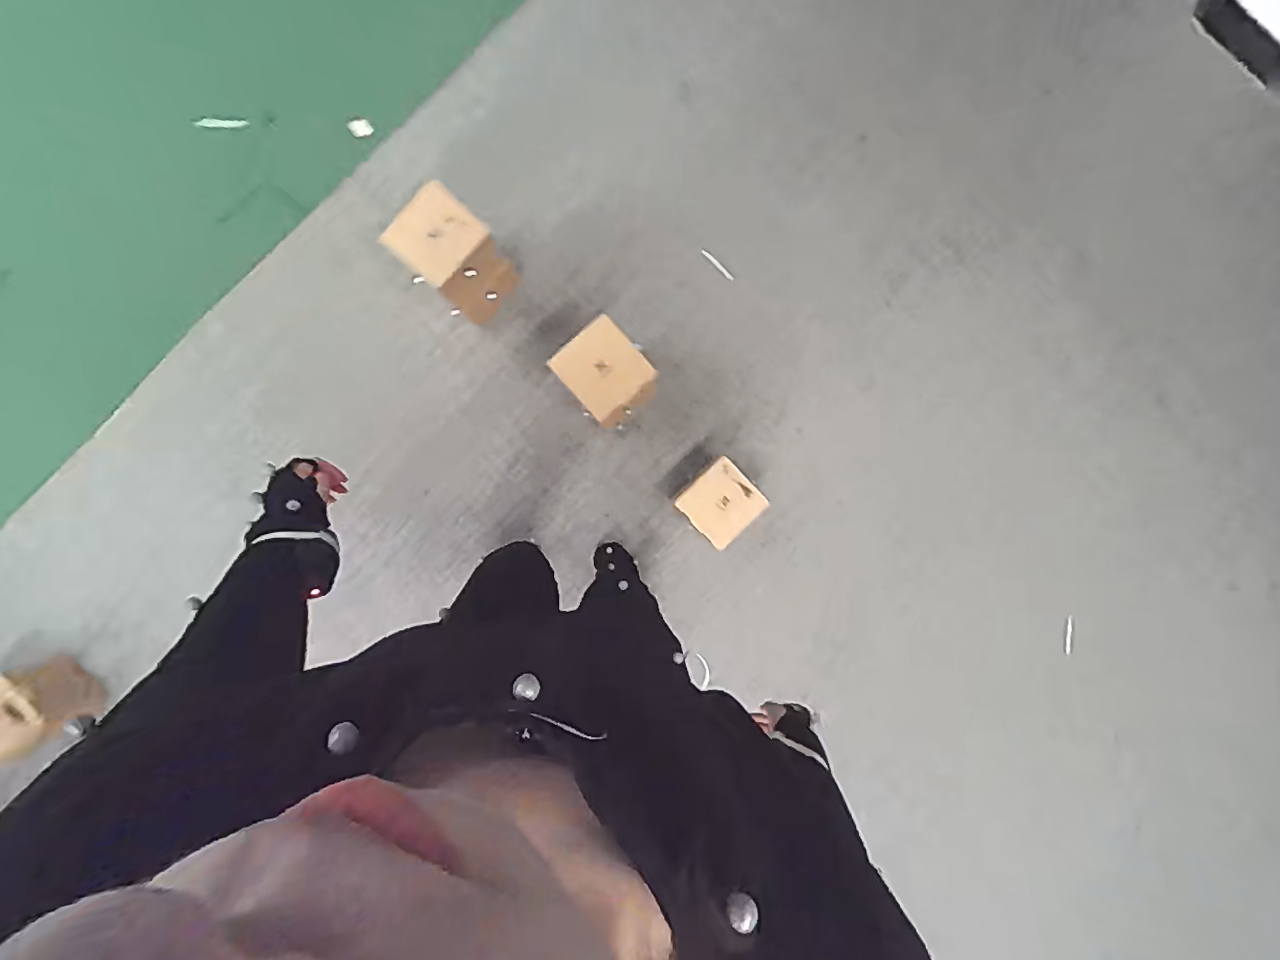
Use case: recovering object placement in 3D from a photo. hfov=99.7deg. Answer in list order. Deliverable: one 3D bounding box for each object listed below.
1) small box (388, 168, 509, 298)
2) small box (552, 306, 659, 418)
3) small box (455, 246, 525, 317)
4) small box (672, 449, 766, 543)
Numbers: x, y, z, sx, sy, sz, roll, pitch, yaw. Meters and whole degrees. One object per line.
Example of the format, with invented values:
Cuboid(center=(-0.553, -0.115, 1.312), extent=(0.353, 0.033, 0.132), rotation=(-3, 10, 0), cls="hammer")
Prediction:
Cuboid(center=(-0.423, -0.549, 1.233), extent=(0.168, 0.176, 0.179), rotation=(43, 90, -2), cls="small box")
Cuboid(center=(-0.075, -0.259, 1.239), extent=(0.168, 0.176, 0.179), rotation=(-41, 91, 0), cls="small box")
Cuboid(center=(-0.421, -0.553, 1.397), extent=(0.168, 0.176, 0.179), rotation=(44, 90, -2), cls="small box")
Cuboid(center=(0.198, 0.039, 1.409), extent=(0.179, 0.176, 0.168), rotation=(-42, 91, 1), cls="small box")
